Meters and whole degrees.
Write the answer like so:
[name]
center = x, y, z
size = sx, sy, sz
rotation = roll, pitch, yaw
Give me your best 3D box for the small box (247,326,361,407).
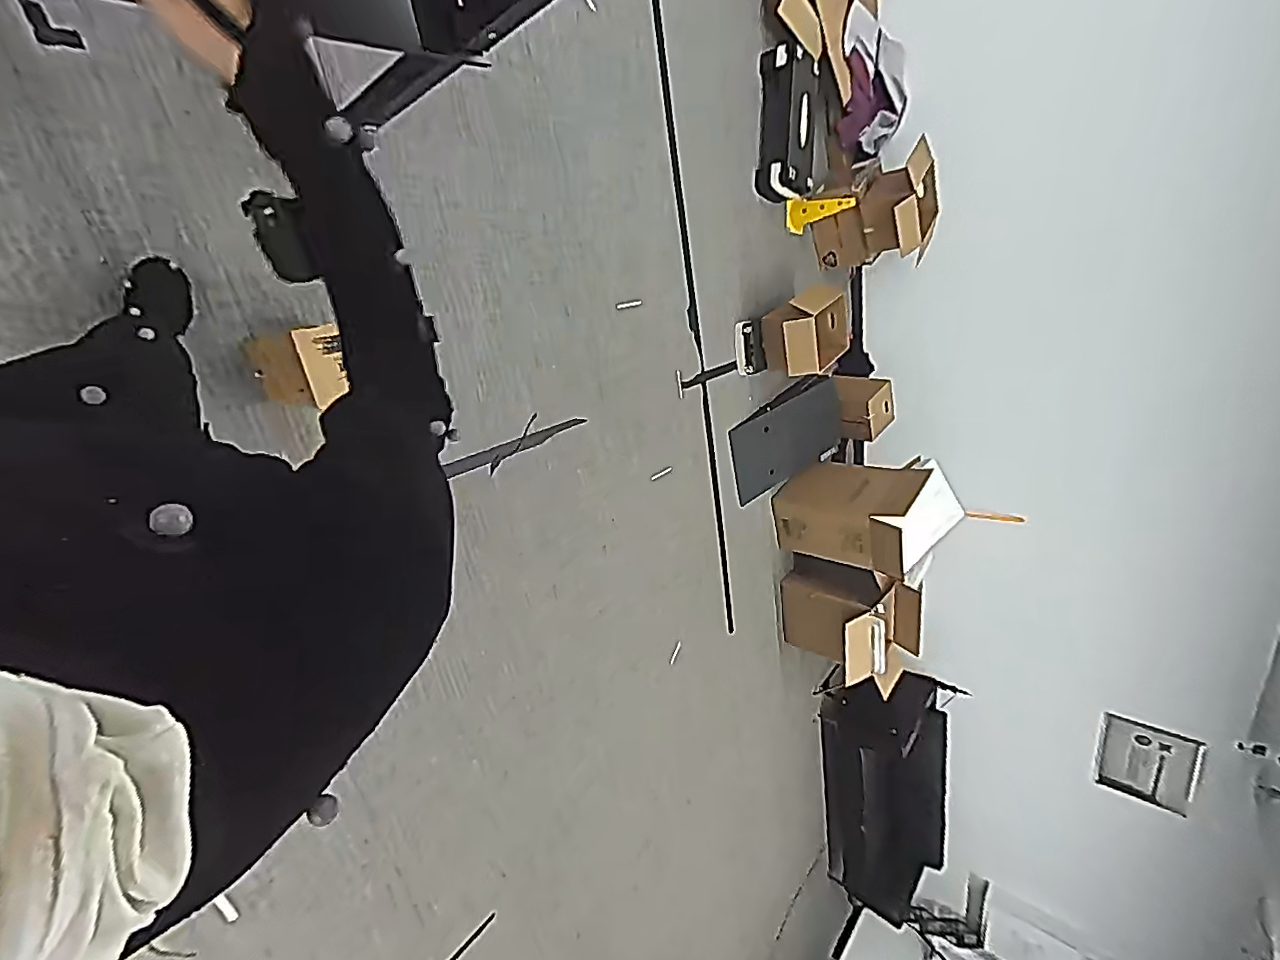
[small box]
center = -0.855, -0.292, 1.377
size = 0.179, 0.176, 0.168
rotation = -30, 119, -40
